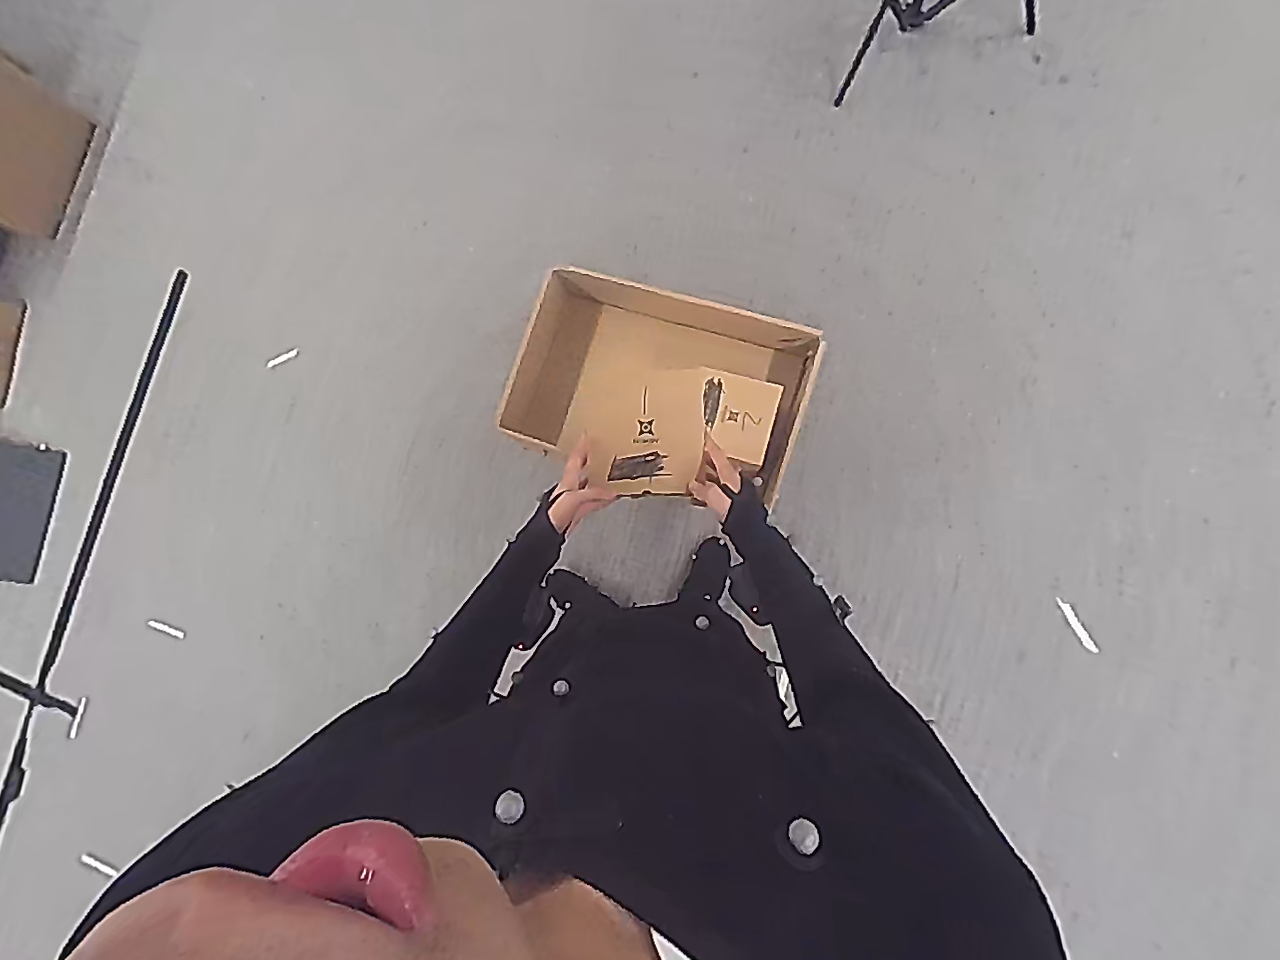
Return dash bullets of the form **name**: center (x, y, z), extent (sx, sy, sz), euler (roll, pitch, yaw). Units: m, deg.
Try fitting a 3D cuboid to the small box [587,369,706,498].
- **small box**: center (0.013, -0.069, 0.829), extent (0.168, 0.176, 0.179), euler (-2, 93, 1)
